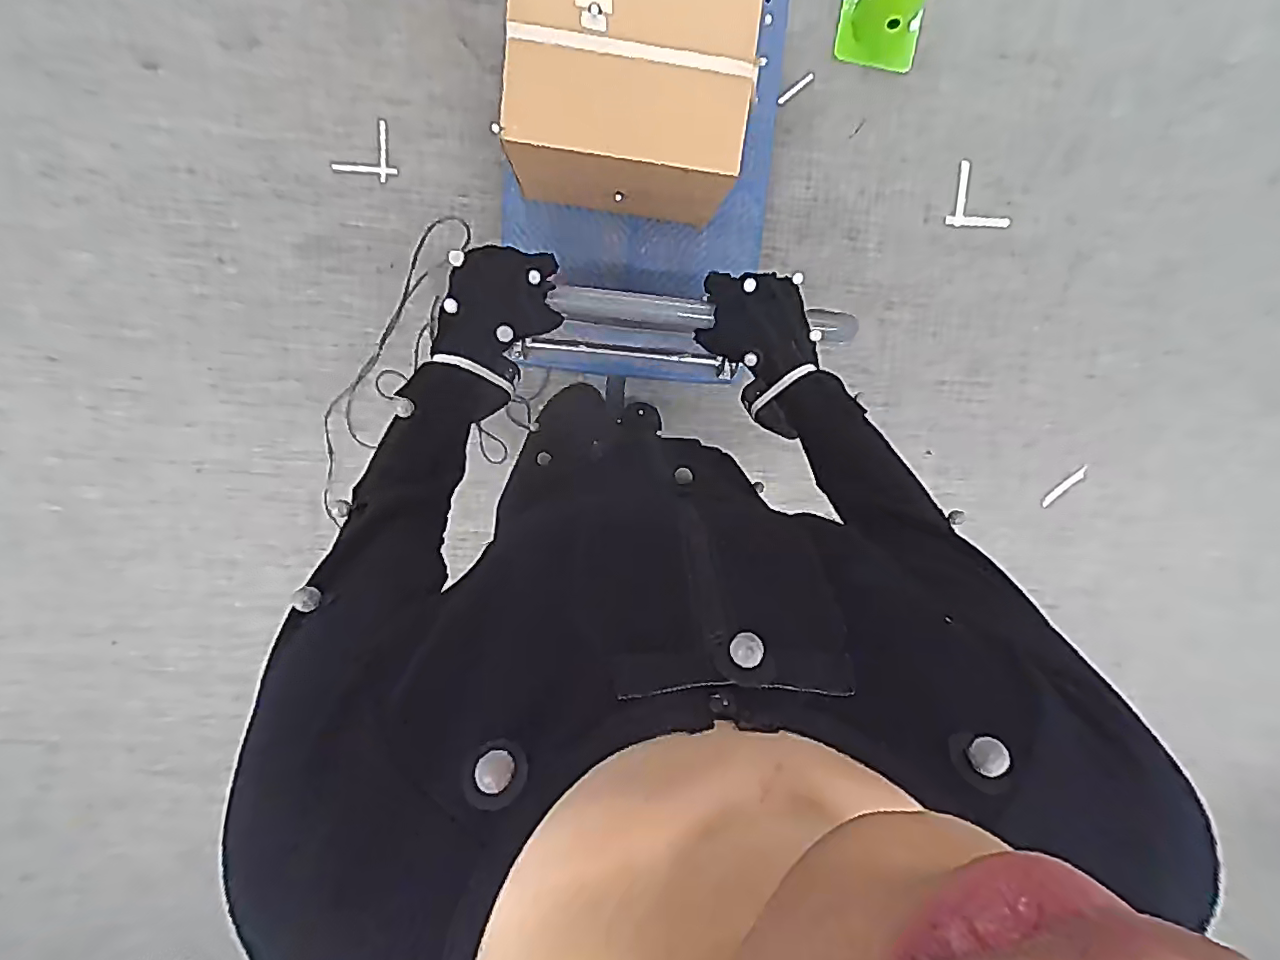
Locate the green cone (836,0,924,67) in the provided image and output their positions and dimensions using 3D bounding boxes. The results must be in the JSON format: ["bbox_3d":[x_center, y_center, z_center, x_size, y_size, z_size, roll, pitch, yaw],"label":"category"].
[{"bbox_3d":[0.597,-1.096,1.143,0.202,0.368,0.200,7,99,-6],"label":"green cone"}]

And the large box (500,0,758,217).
[{"bbox_3d":[-0.024,-0.720,1.022,0.408,0.320,0.320,6,100,-4],"label":"large box"}]
